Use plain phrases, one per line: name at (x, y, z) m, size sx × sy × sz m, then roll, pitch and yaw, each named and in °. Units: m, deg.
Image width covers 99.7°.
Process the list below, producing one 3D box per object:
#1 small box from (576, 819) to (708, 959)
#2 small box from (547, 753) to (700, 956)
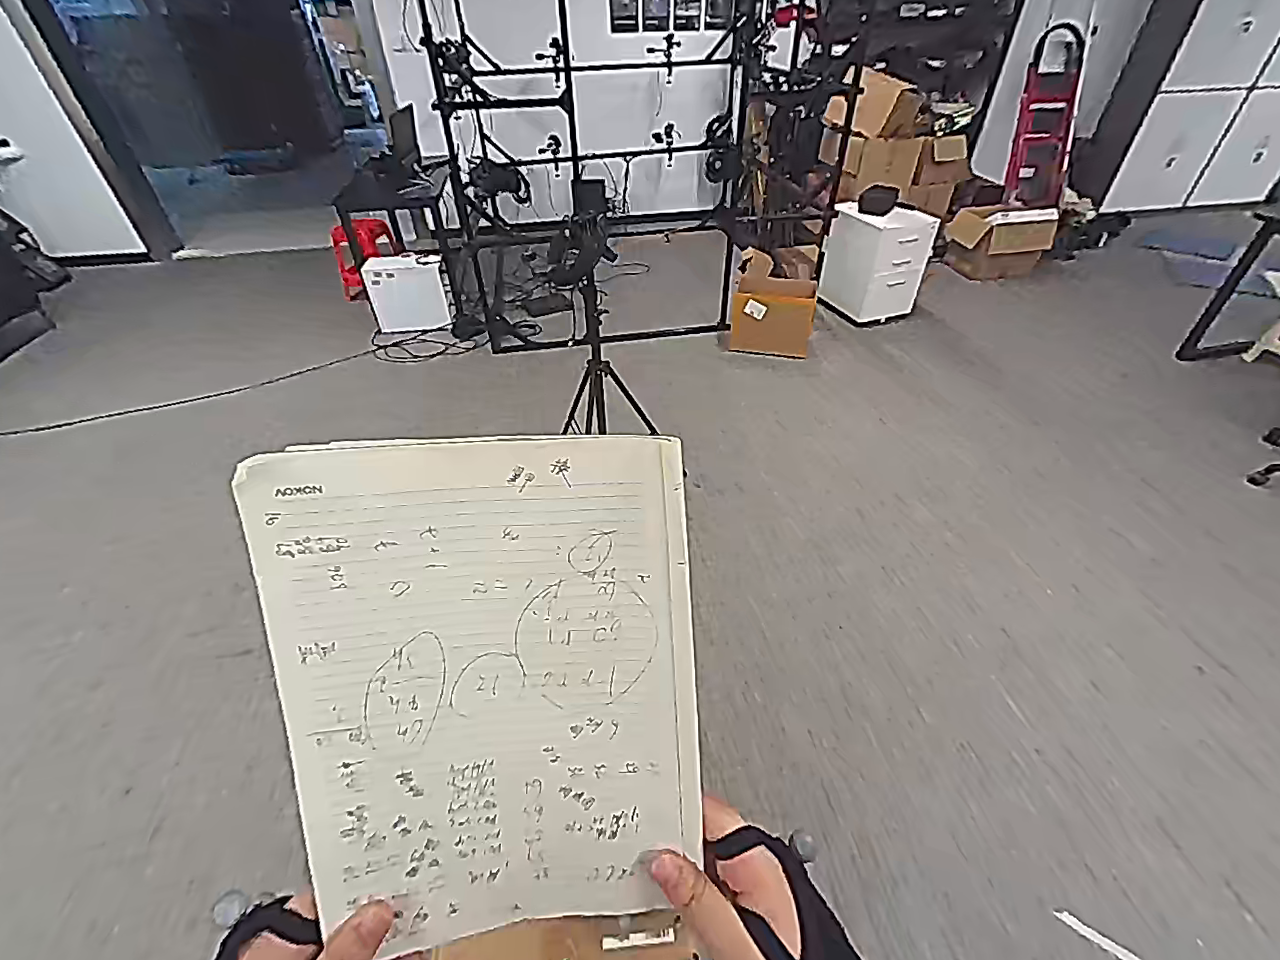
small box at (-0.009, 0.592, 0.798) m, size 0.179 × 0.176 × 0.168 m, roll -4°, pitch 42°, yaw -6°
small box at (-0.024, 0.472, 0.685) m, size 0.168 × 0.176 × 0.179 m, roll -1°, pitch 43°, yaw -4°
